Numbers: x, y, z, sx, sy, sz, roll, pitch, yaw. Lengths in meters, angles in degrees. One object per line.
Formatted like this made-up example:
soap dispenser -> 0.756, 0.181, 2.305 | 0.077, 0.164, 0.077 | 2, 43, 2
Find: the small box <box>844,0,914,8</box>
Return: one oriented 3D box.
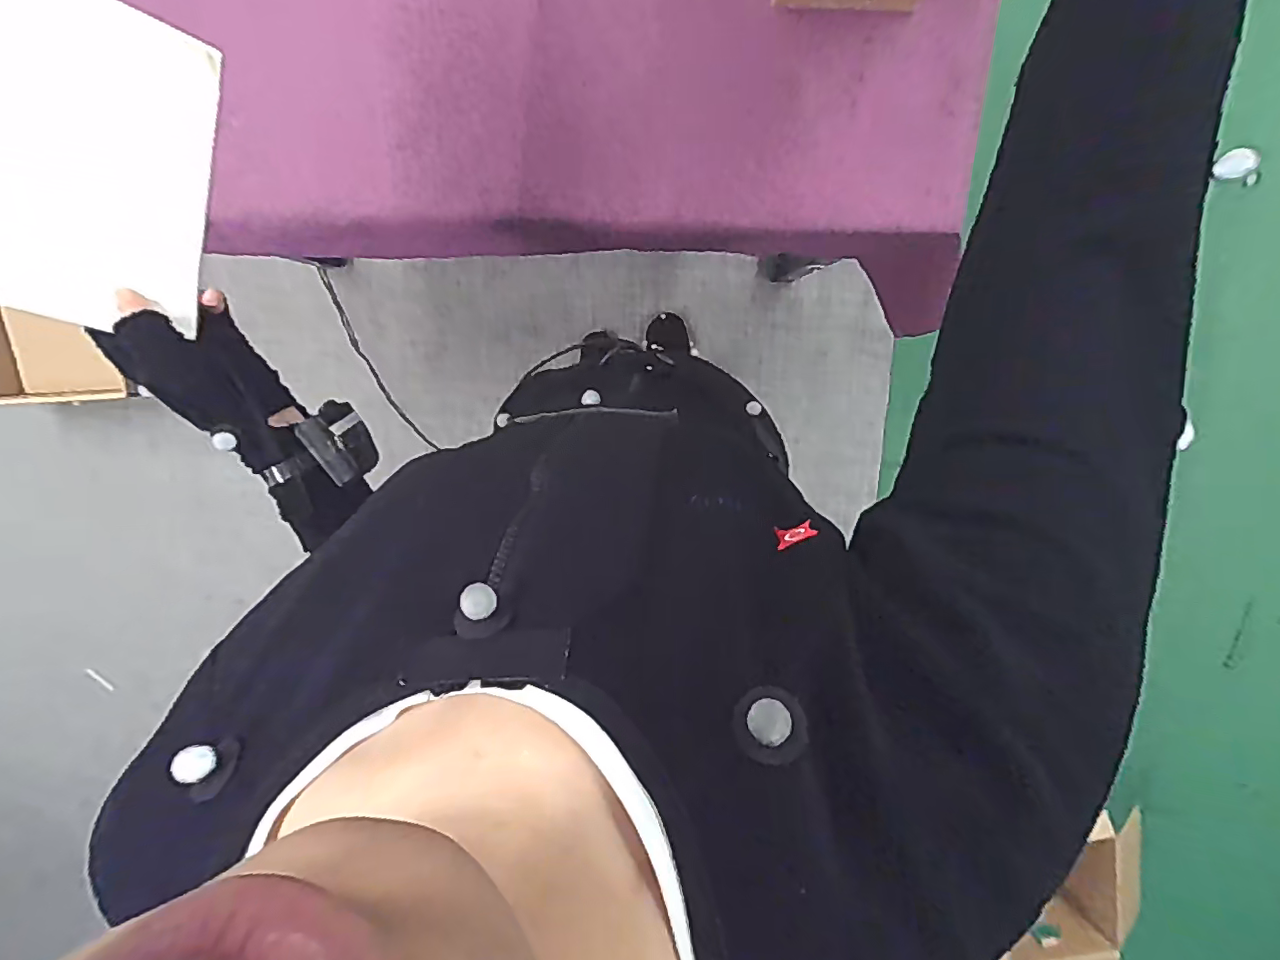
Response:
small box -> 0.228, -0.589, 0.505 | 0.168, 0.176, 0.179 | 2, 104, -1
